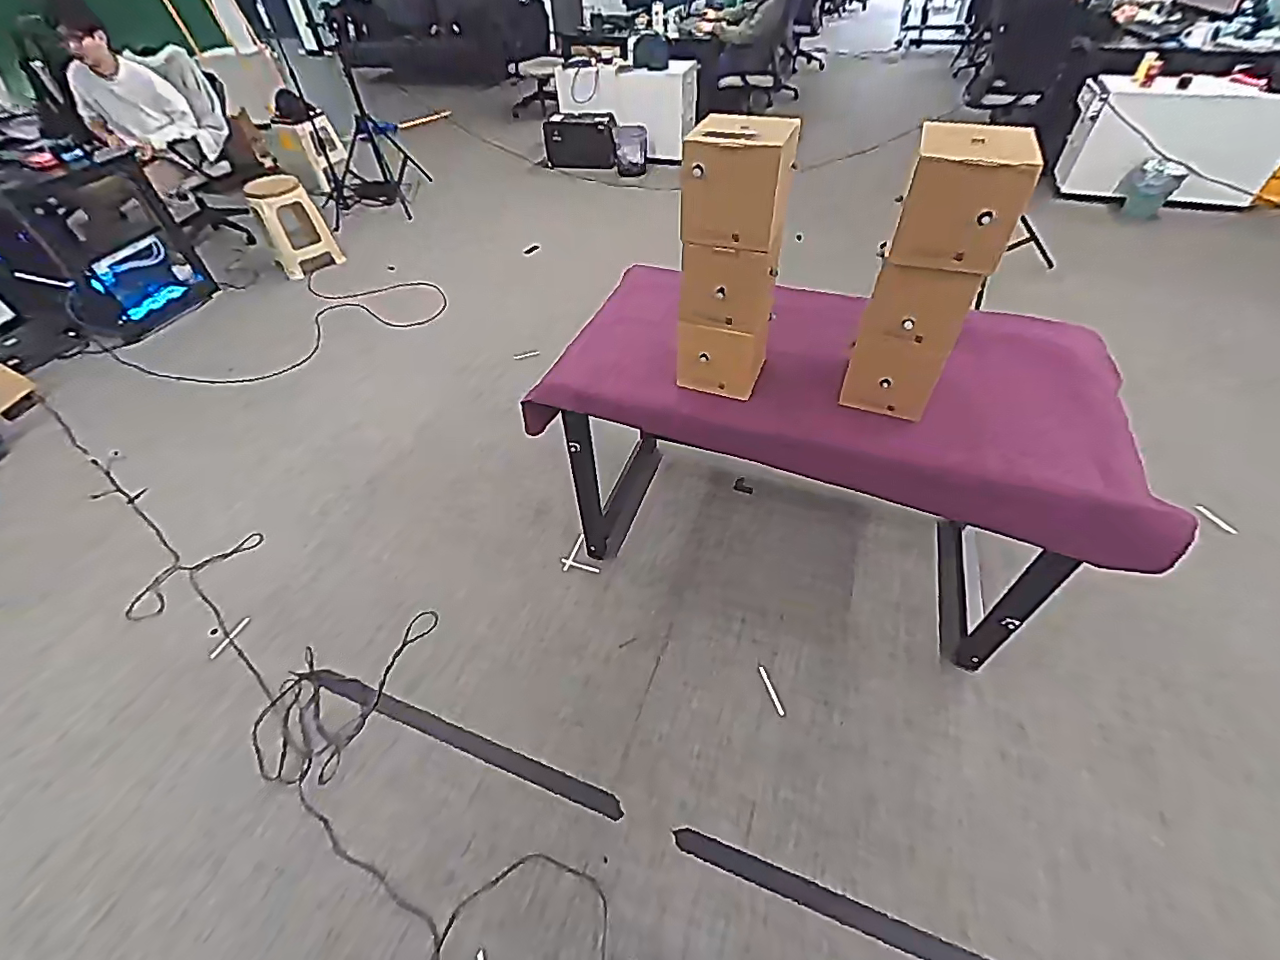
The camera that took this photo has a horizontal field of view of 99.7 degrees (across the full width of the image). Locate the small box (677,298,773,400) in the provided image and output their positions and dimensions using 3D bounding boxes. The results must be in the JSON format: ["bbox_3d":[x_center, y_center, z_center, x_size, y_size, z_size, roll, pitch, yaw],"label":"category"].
[{"bbox_3d":[0.189,-0.303,1.210,0.168,0.176,0.179,15,49,16],"label":"small box"}]

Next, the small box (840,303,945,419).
[{"bbox_3d":[0.535,-0.254,1.146,0.168,0.176,0.179,17,50,17],"label":"small box"}]

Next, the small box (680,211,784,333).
[{"bbox_3d":[0.184,-0.419,1.094,0.168,0.176,0.179,14,49,14],"label":"small box"}]

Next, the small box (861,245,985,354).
[{"bbox_3d":[0.533,-0.367,1.027,0.168,0.176,0.179,16,51,17],"label":"small box"}]

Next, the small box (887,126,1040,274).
[{"bbox_3d":[0.521,-0.461,0.893,0.168,0.176,0.179,14,49,14],"label":"small box"}]
